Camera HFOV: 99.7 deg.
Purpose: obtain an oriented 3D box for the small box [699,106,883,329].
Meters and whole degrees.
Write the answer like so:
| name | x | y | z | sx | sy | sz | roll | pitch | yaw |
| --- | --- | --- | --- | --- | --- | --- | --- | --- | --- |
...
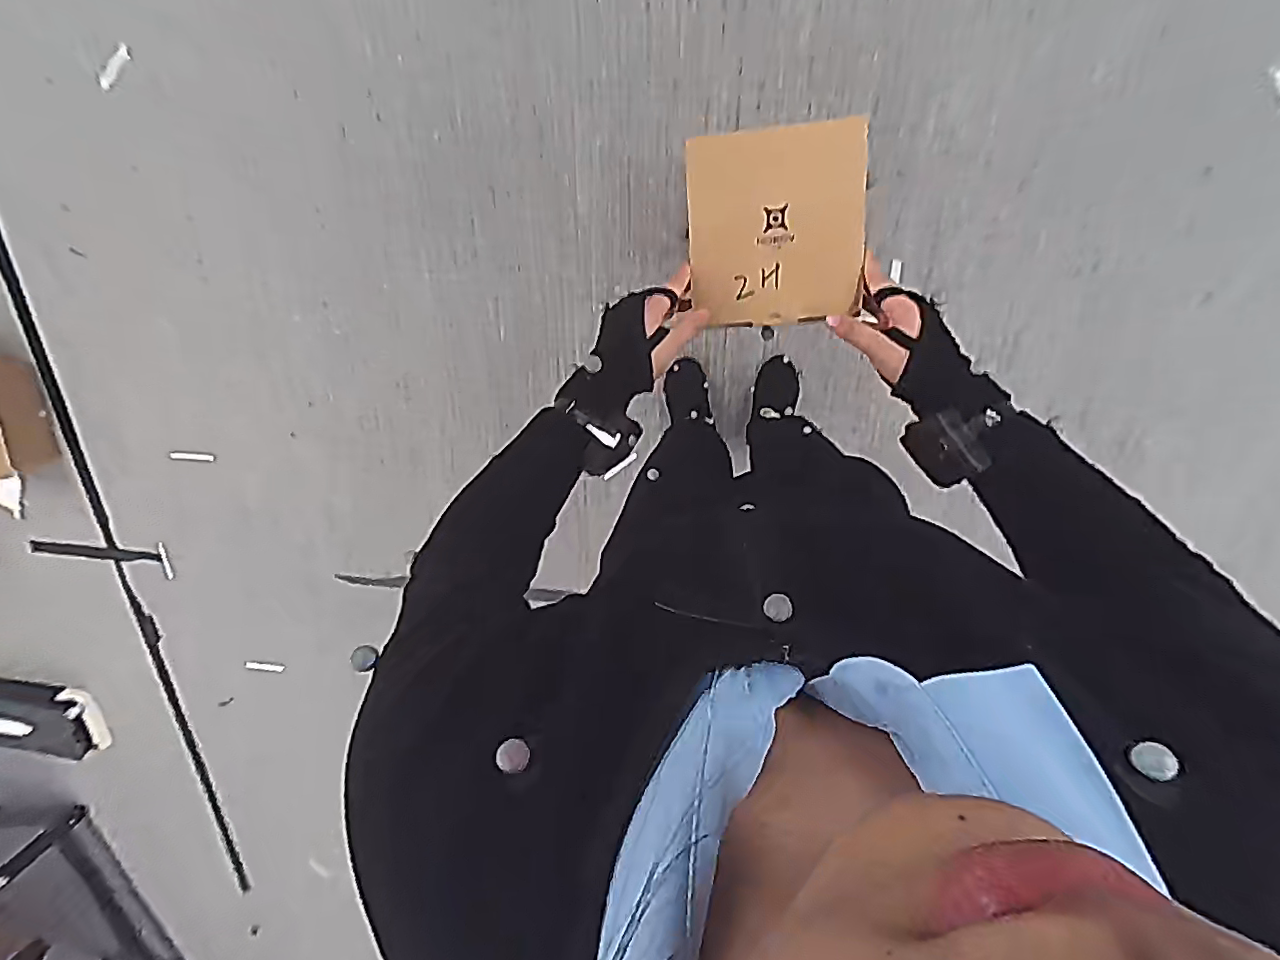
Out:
| name | x | y | z | sx | sy | sz | roll | pitch | yaw |
| --- | --- | --- | --- | --- | --- | --- | --- | --- | --- |
| small box | 0.149 | -0.259 | 0.579 | 0.168 | 0.176 | 0.179 | -2 | 104 | 10 |
